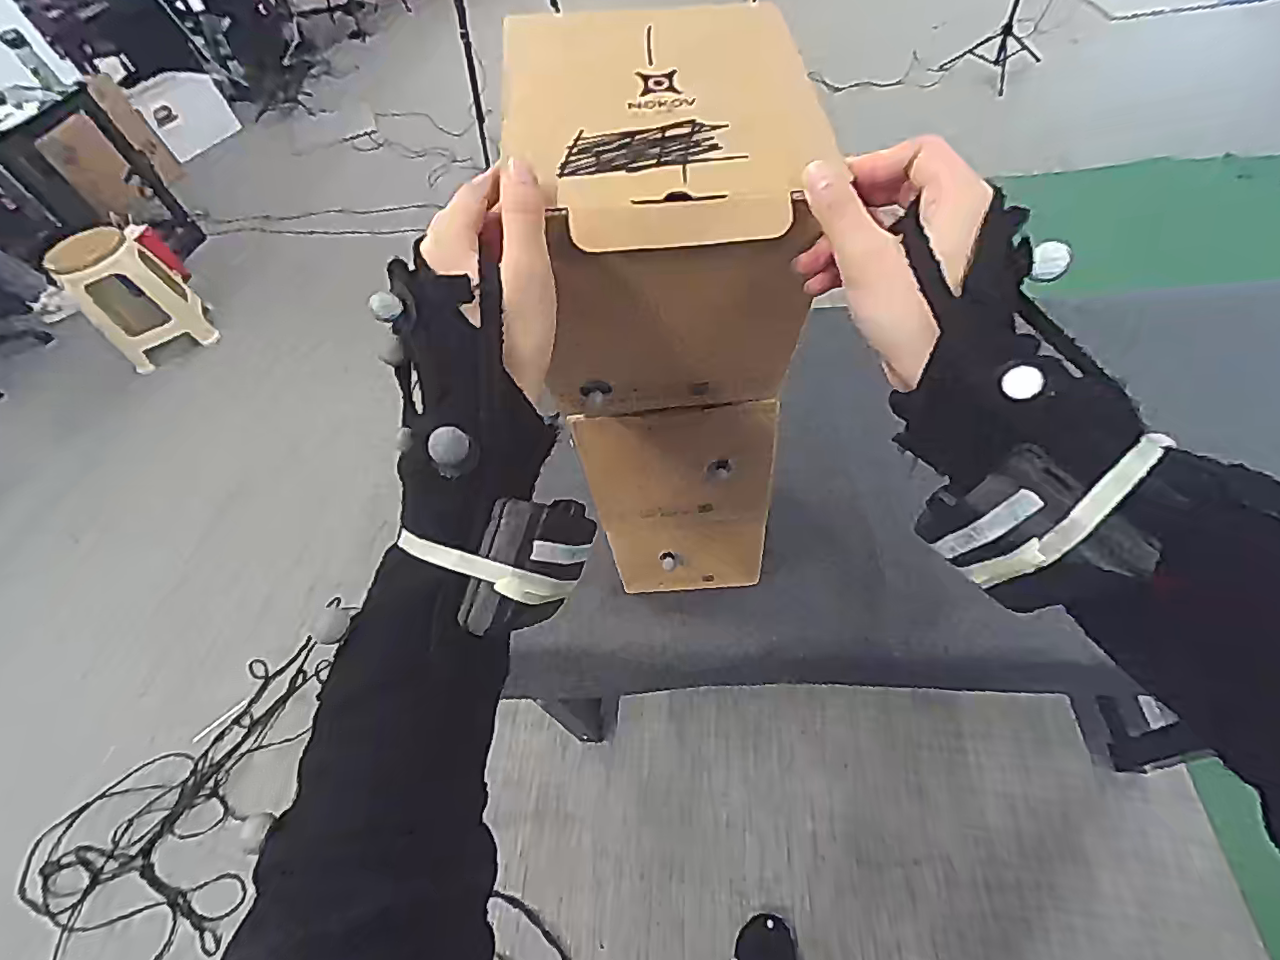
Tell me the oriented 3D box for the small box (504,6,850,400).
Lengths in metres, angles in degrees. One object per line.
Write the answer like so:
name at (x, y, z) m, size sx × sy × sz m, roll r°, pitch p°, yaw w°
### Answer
small box at (0.012, -0.166, 0.357) m, size 0.168 × 0.176 × 0.179 m, roll -5°, pitch 62°, yaw -3°

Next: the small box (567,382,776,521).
small box at (0.031, -0.072, 0.524) m, size 0.168 × 0.176 × 0.179 m, roll -5°, pitch 52°, yaw 3°

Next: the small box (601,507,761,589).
small box at (0.051, 0.022, 0.656) m, size 0.168 × 0.176 × 0.179 m, roll -5°, pitch 53°, yaw 5°
